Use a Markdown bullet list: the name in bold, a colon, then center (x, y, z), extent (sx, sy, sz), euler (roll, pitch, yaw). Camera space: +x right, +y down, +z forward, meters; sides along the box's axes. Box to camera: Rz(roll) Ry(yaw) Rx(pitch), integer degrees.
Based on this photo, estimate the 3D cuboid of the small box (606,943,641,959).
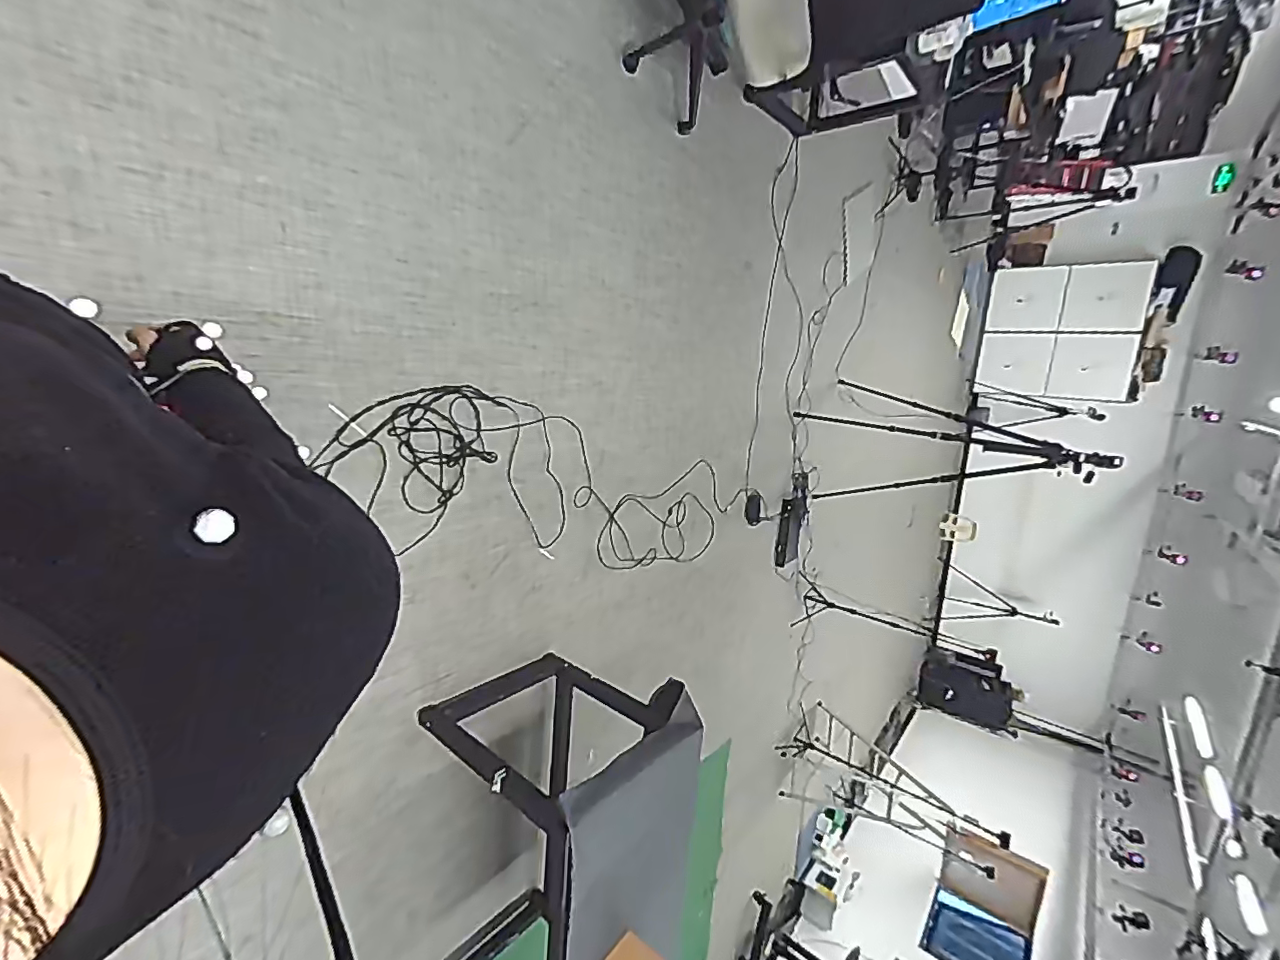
- **small box**: center (-0.051, 1.452, 1.493), extent (0.179, 0.176, 0.168), euler (-13, 109, -50)
